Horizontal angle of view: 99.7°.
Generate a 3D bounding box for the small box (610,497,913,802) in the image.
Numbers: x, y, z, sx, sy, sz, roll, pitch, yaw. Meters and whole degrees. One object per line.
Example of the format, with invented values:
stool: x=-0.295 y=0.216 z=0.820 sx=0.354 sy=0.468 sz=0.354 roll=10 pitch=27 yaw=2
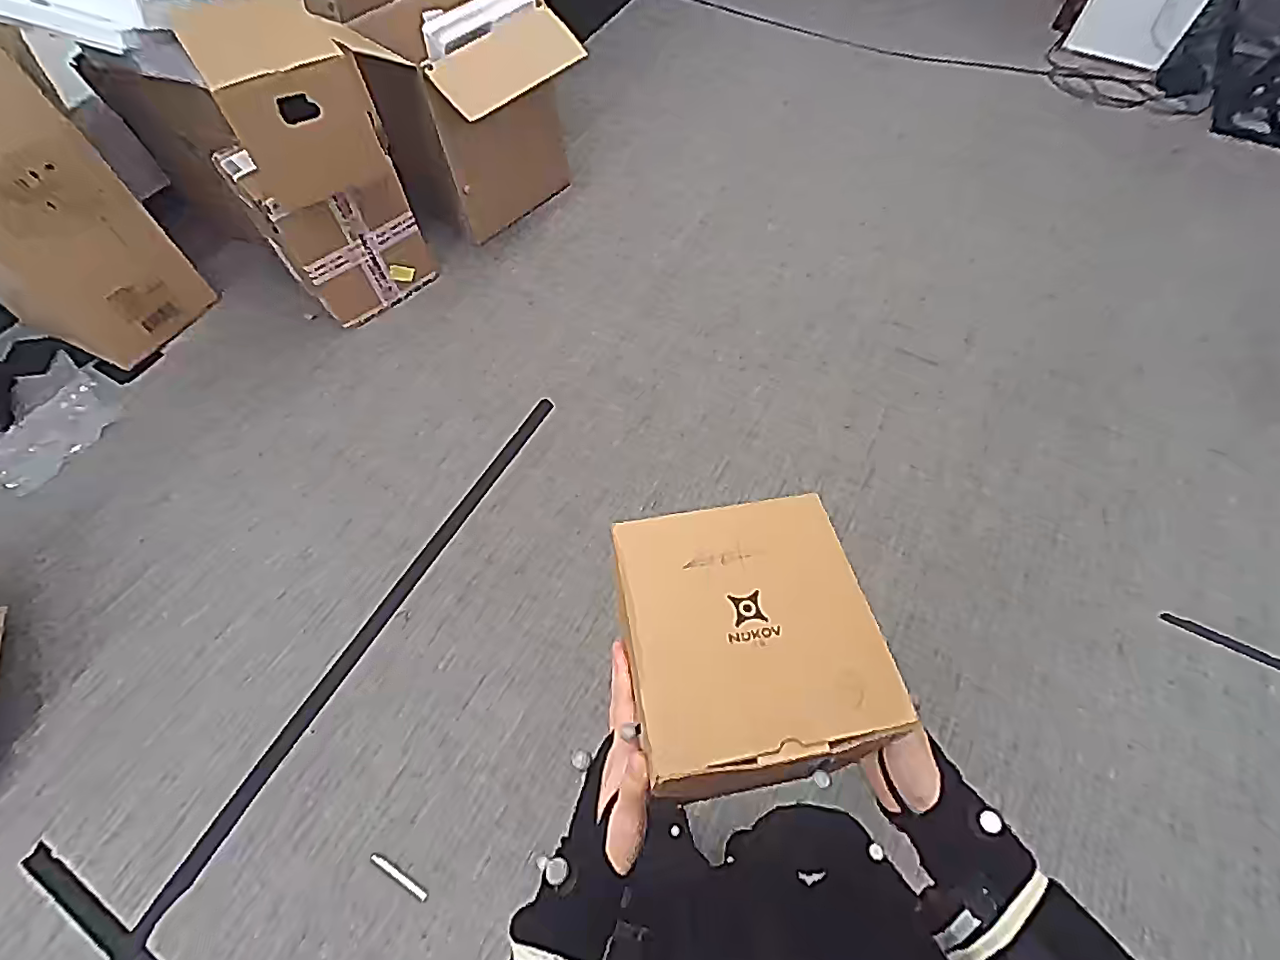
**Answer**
small box: x=0.071 y=0.140 z=0.428 sx=0.168 sy=0.176 sz=0.179 roll=-8 pitch=53 yaw=-7
